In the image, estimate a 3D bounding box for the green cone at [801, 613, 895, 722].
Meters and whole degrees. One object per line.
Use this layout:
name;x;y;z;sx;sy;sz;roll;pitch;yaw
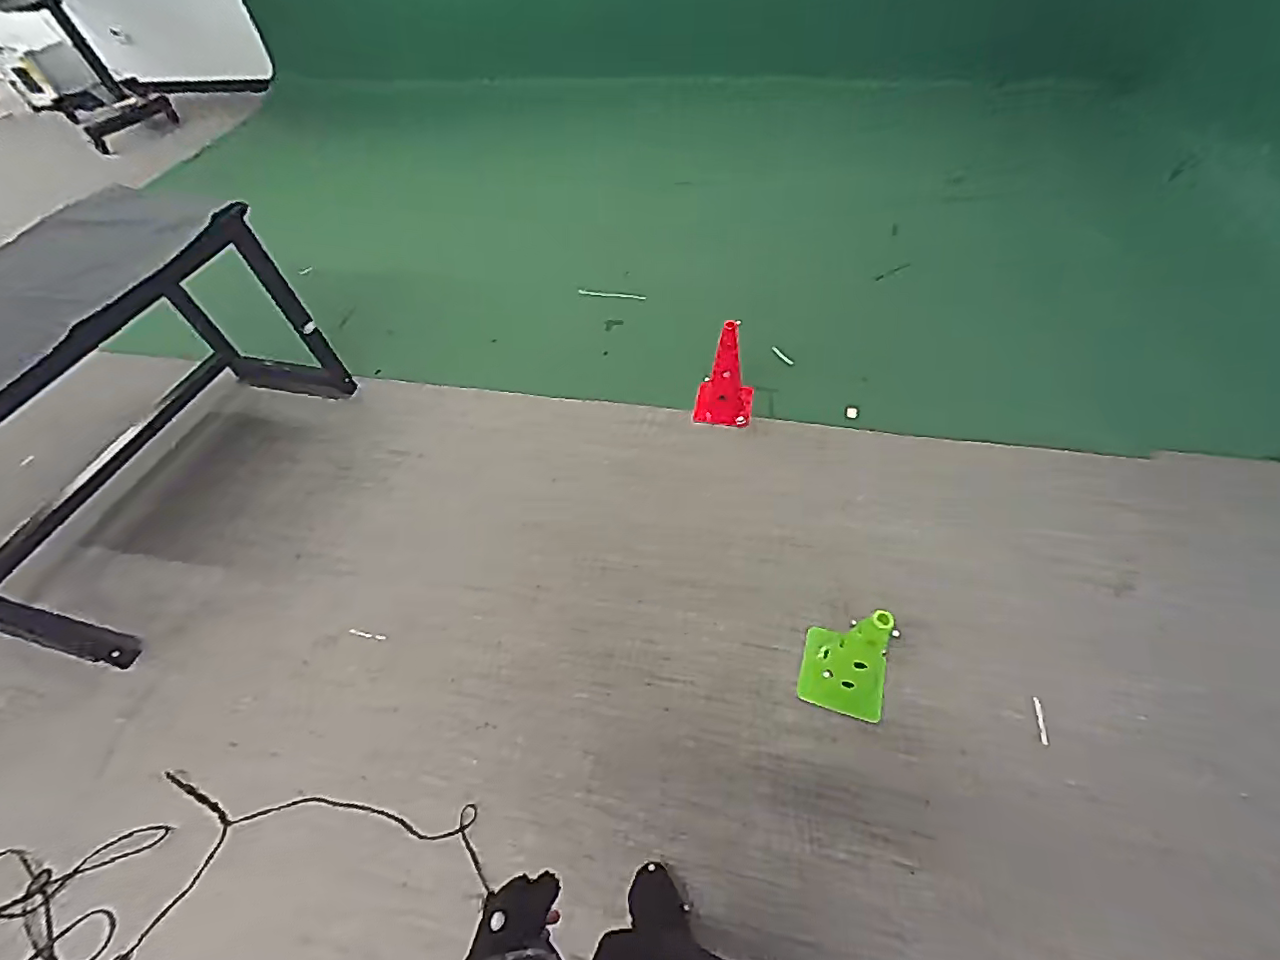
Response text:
green cone;0.511;0.392;1.246;0.200;0.368;0.202;12;55;15
